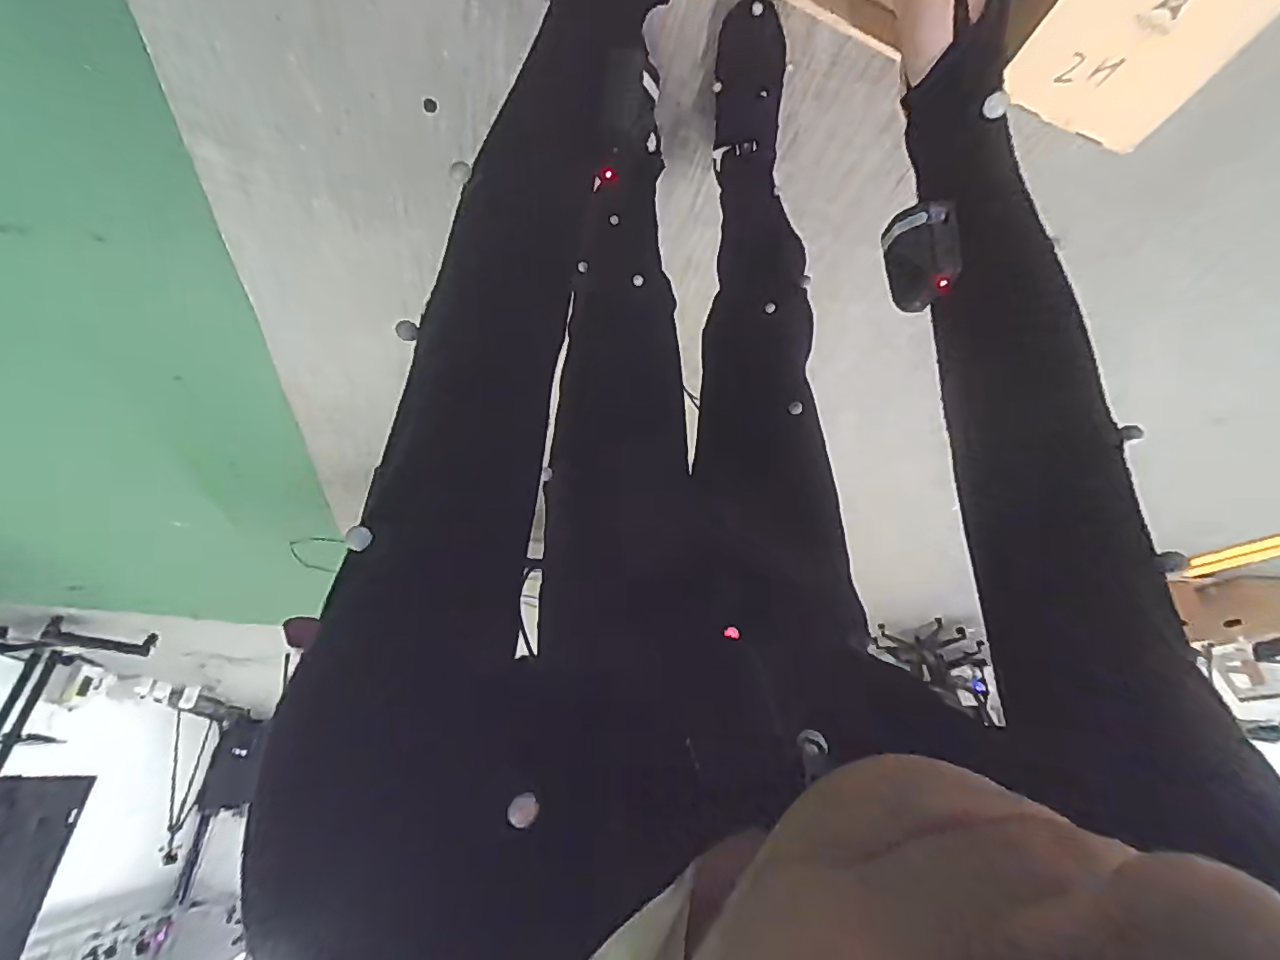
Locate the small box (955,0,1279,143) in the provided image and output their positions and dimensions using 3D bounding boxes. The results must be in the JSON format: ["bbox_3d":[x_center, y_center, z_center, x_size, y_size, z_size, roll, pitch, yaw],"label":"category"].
[{"bbox_3d":[0.397,-0.427,0.437,0.168,0.176,0.179,11,147,-14],"label":"small box"}]
